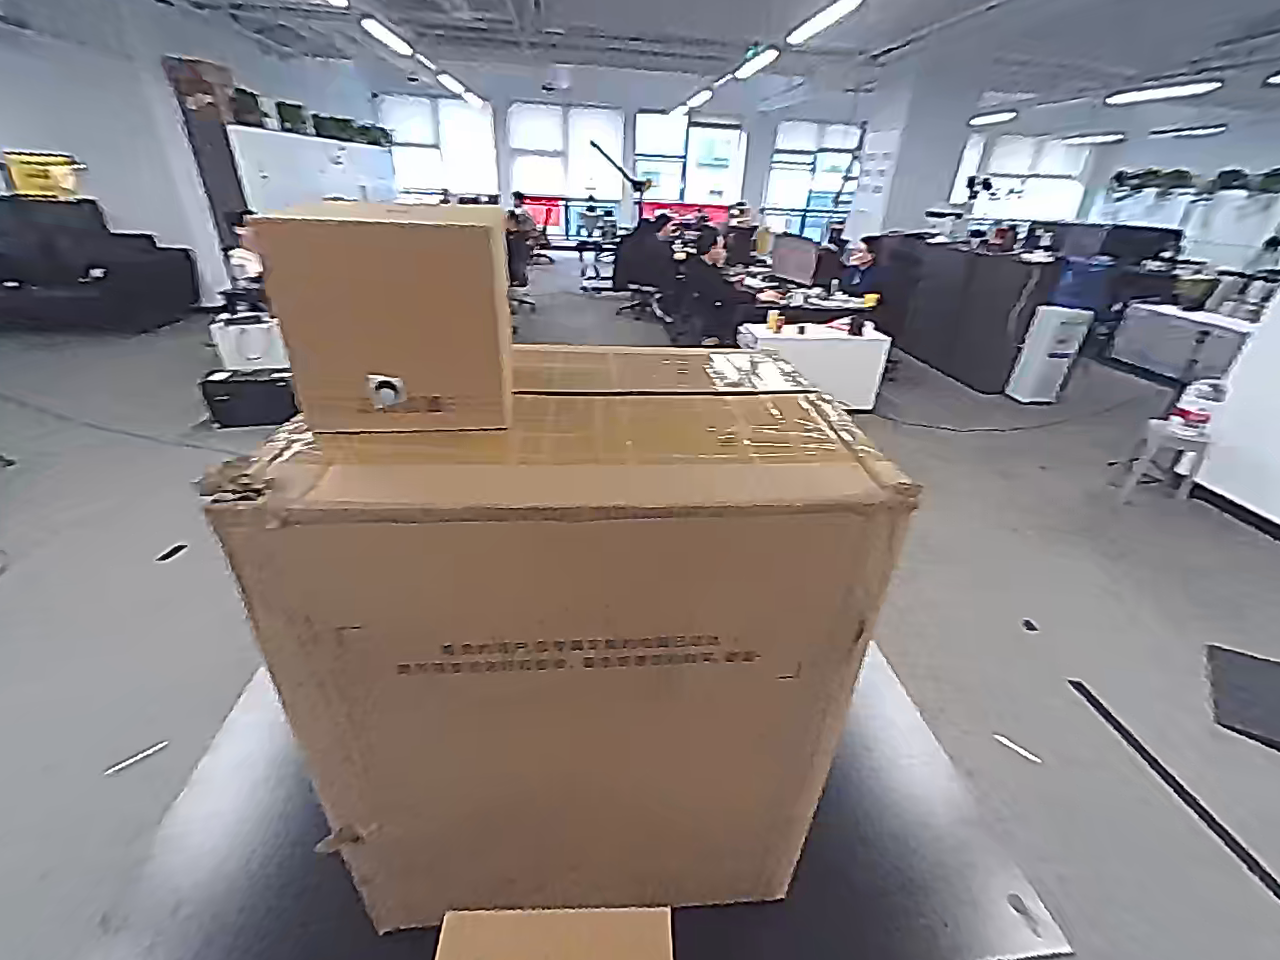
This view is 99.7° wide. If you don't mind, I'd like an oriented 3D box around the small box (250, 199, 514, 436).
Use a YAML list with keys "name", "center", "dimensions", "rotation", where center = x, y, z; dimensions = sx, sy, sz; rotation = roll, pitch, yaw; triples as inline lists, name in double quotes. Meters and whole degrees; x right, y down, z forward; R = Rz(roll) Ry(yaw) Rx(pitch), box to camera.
- name: "small box"
  center: [-0.206, -0.152, 0.492]
  dimensions: [0.168, 0.176, 0.179]
  rotation: [-4, 32, -11]

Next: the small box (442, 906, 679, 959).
- name: "small box"
  center: [-0.057, 0.428, 0.371]
  dimensions: [0.168, 0.176, 0.179]
  rotation: [0, 36, -1]
